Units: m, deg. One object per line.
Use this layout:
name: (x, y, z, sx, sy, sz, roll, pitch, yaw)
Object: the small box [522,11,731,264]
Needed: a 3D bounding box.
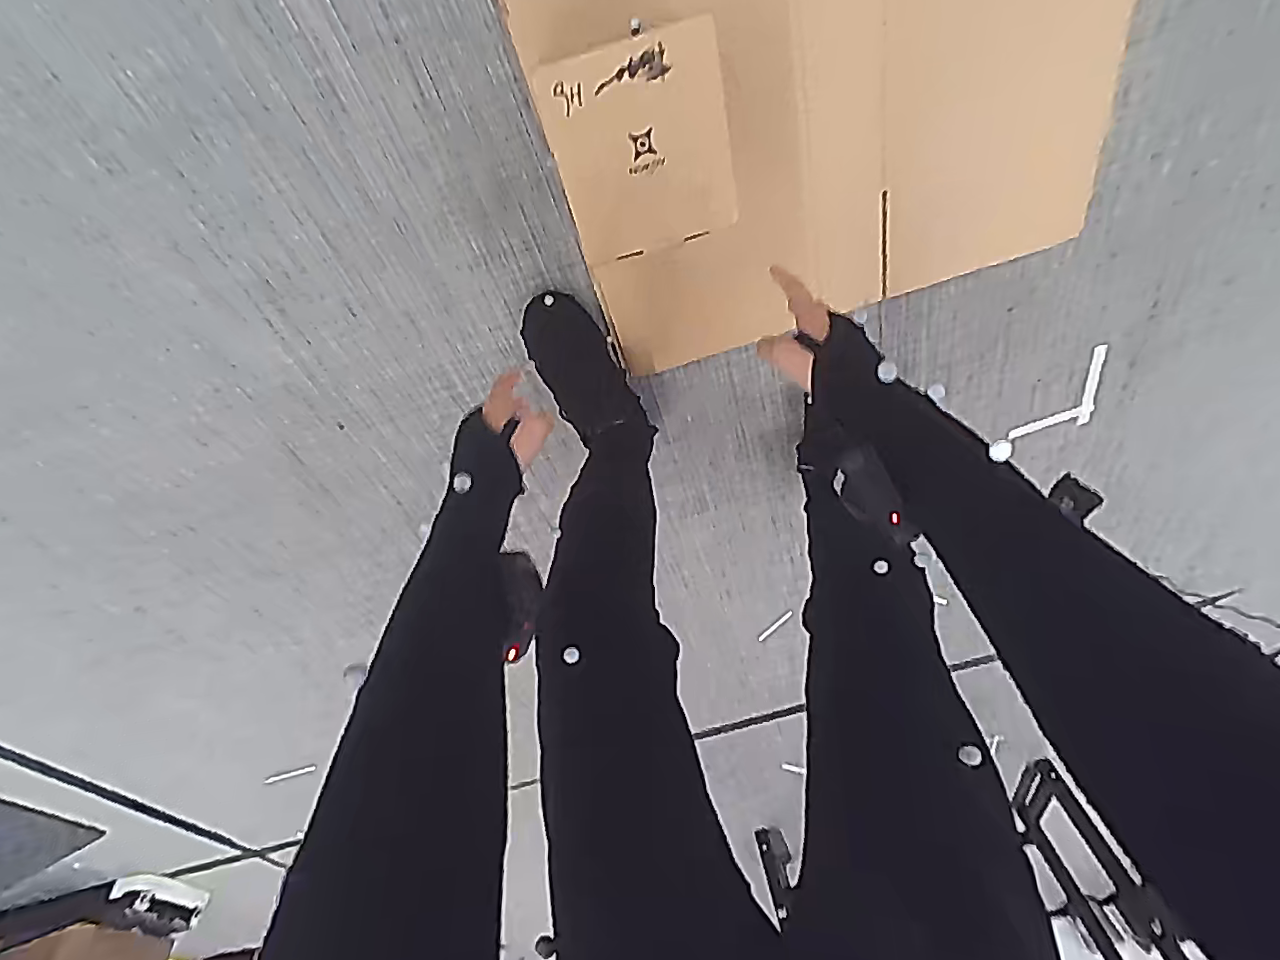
small box: (-0.012, -0.360, 0.569, 0.168, 0.176, 0.179, -15, 130, 3)
